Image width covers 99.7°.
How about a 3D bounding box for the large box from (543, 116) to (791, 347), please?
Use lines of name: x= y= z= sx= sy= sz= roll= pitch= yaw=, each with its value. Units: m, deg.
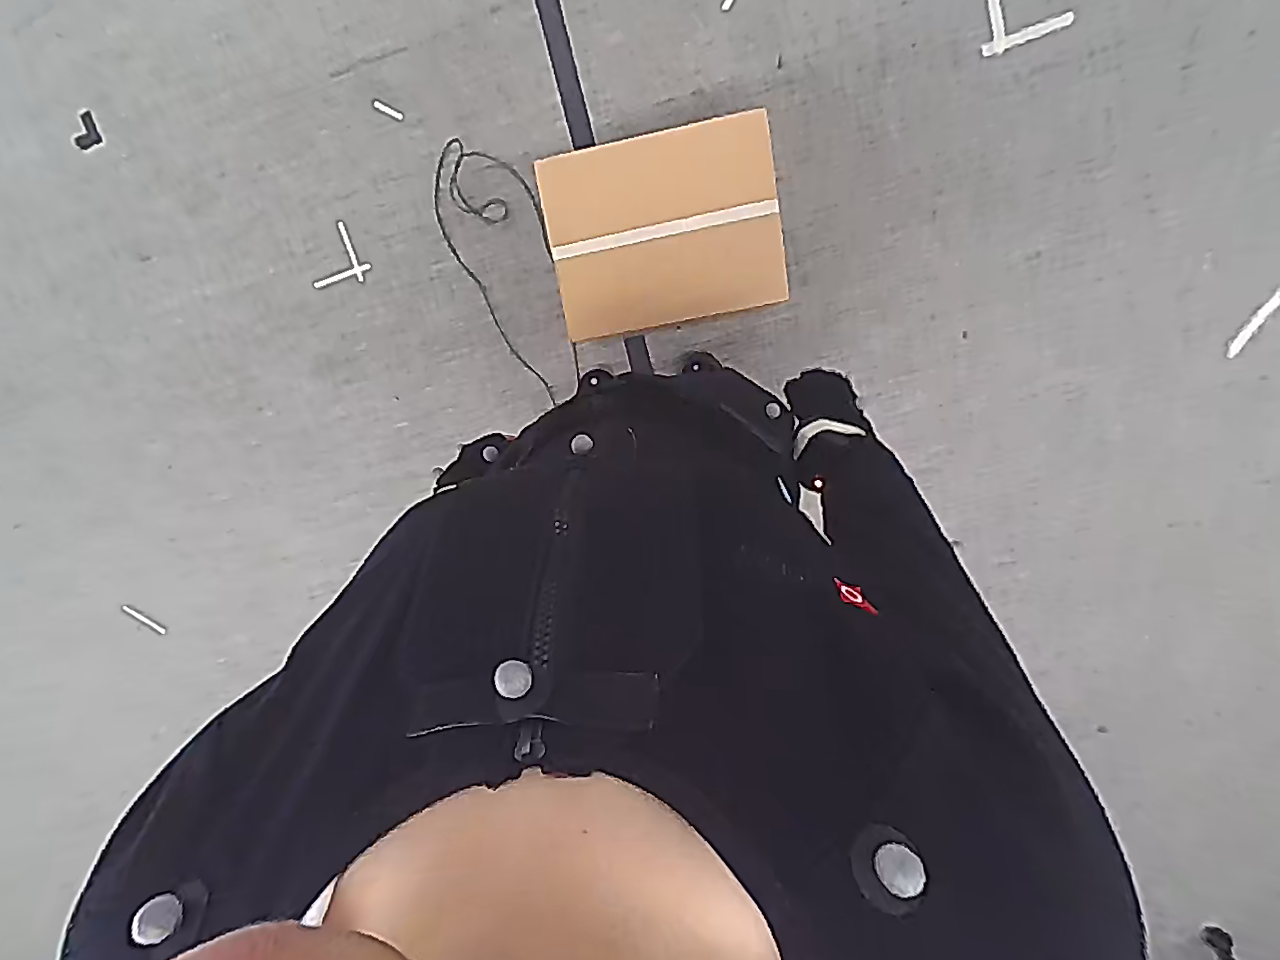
large box: x=0.058 y=-0.463 z=1.100 sx=0.408 sy=0.320 sz=0.320 roll=-9 pitch=103 yaw=6
